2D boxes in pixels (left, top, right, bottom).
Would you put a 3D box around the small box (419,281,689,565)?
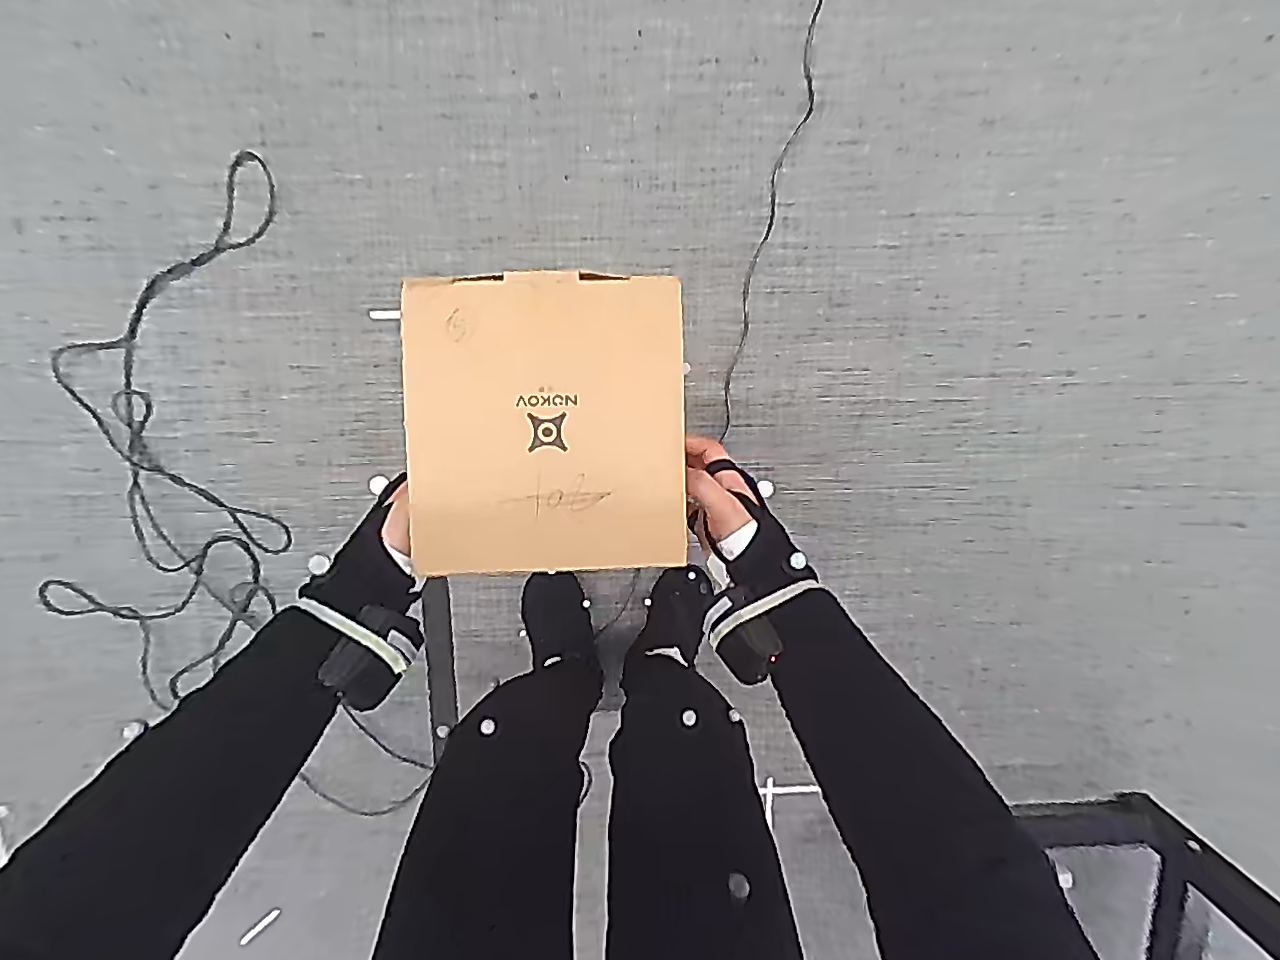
[{"bbox_3d":[-0.057,-0.038,0.417,0.168,0.176,0.179,-2,93,-3],"label":"small box"}]
